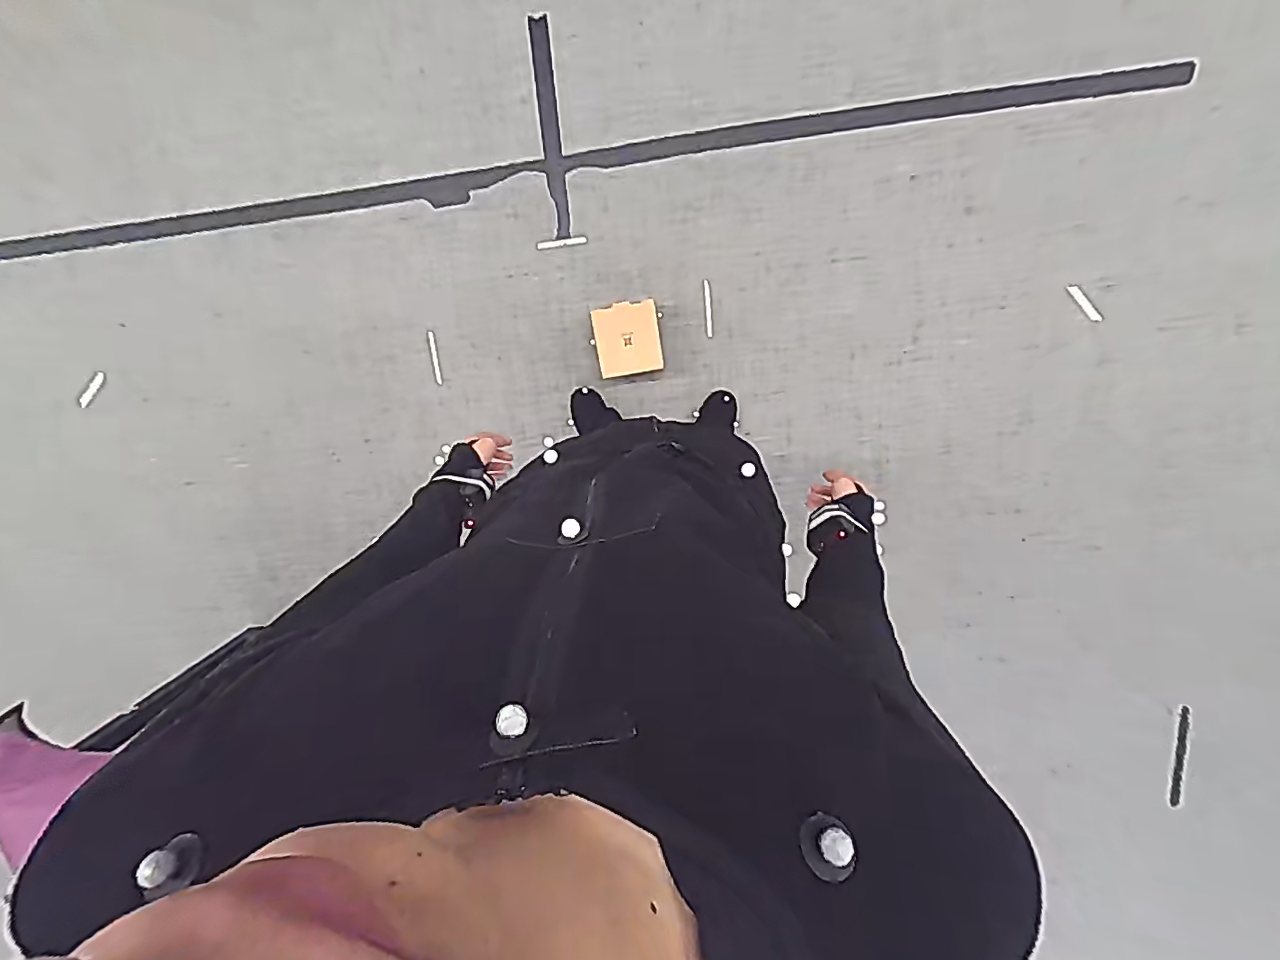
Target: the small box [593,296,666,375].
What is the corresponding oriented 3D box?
[{"bbox_3d":[-0.022,-0.387,1.455,0.168,0.176,0.179,-9,104,5],"label":"small box"}]
